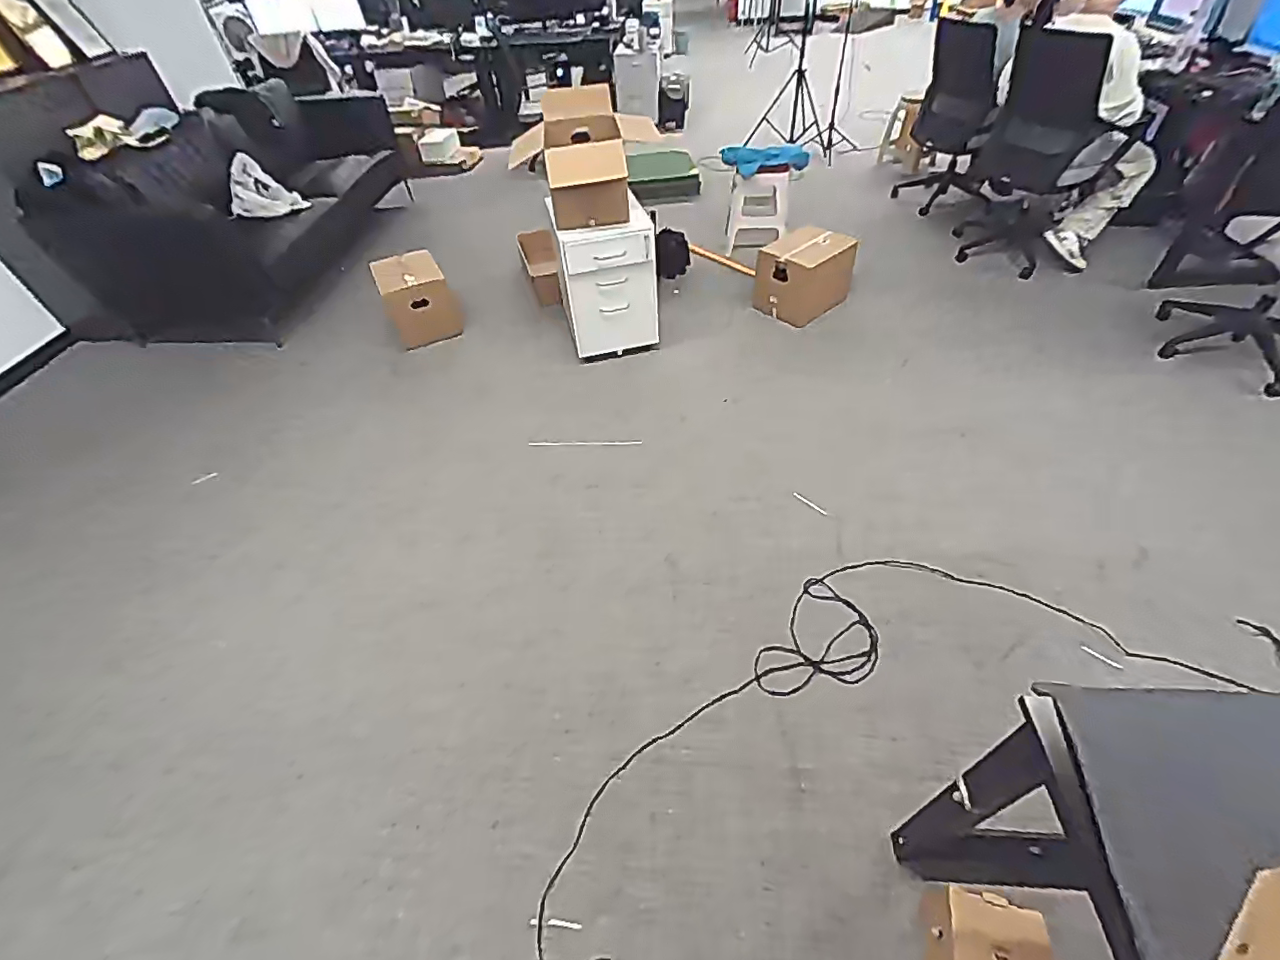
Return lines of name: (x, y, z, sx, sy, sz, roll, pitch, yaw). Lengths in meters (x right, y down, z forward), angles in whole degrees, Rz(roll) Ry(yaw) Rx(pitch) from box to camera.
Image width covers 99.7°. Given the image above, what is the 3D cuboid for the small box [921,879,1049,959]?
small box: (0.648, 0.900, 1.026, 0.168, 0.176, 0.179, 9, 47, 14)
